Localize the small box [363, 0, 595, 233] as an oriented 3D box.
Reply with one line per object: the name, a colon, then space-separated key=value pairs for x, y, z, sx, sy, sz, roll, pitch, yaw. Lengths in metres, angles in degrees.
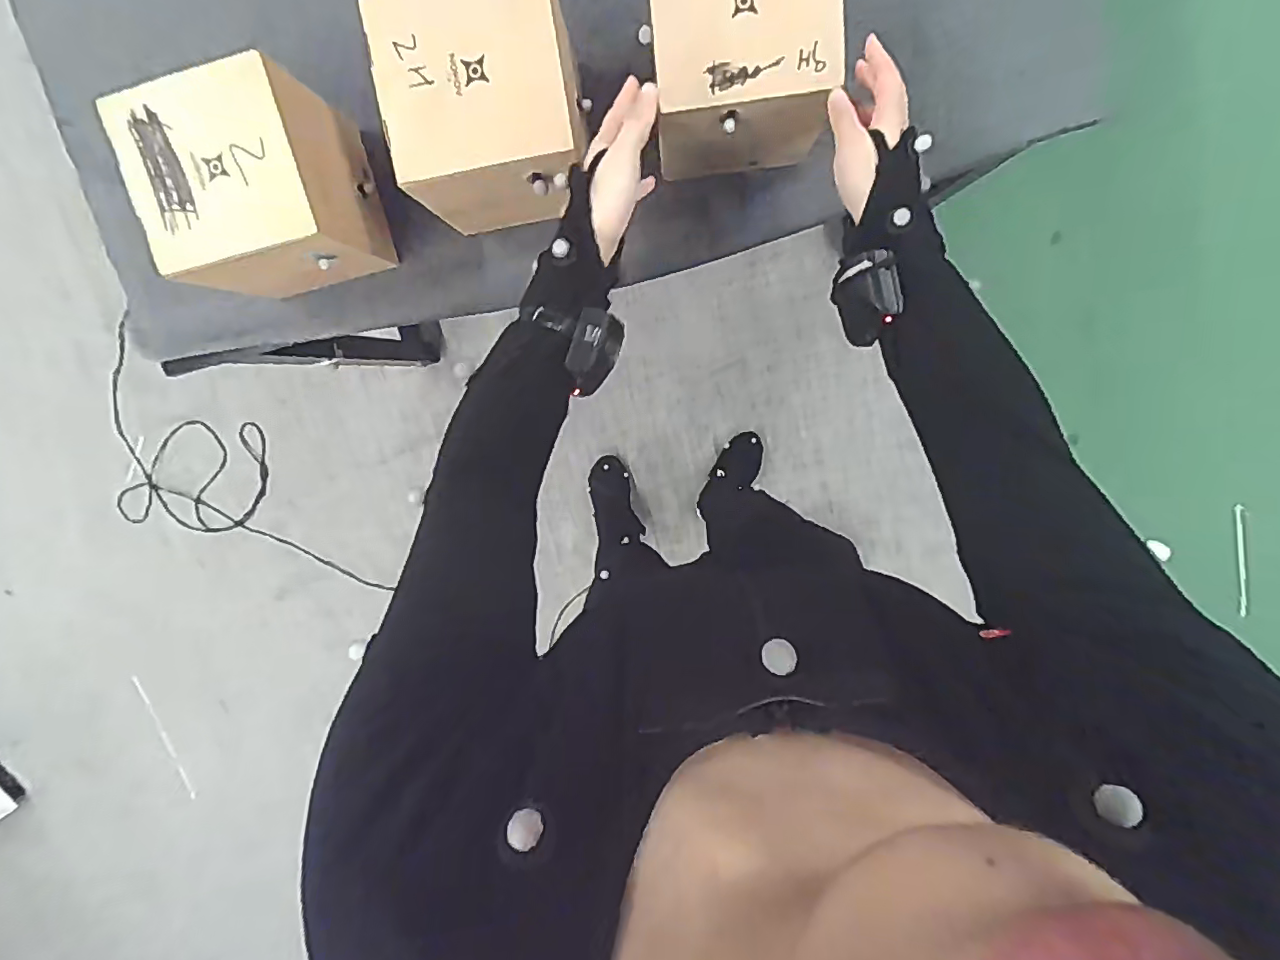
small box: x=-0.148 y=-0.380 z=0.571 sx=0.179 sy=0.176 sz=0.168 roll=-8 pitch=98 yaw=6
